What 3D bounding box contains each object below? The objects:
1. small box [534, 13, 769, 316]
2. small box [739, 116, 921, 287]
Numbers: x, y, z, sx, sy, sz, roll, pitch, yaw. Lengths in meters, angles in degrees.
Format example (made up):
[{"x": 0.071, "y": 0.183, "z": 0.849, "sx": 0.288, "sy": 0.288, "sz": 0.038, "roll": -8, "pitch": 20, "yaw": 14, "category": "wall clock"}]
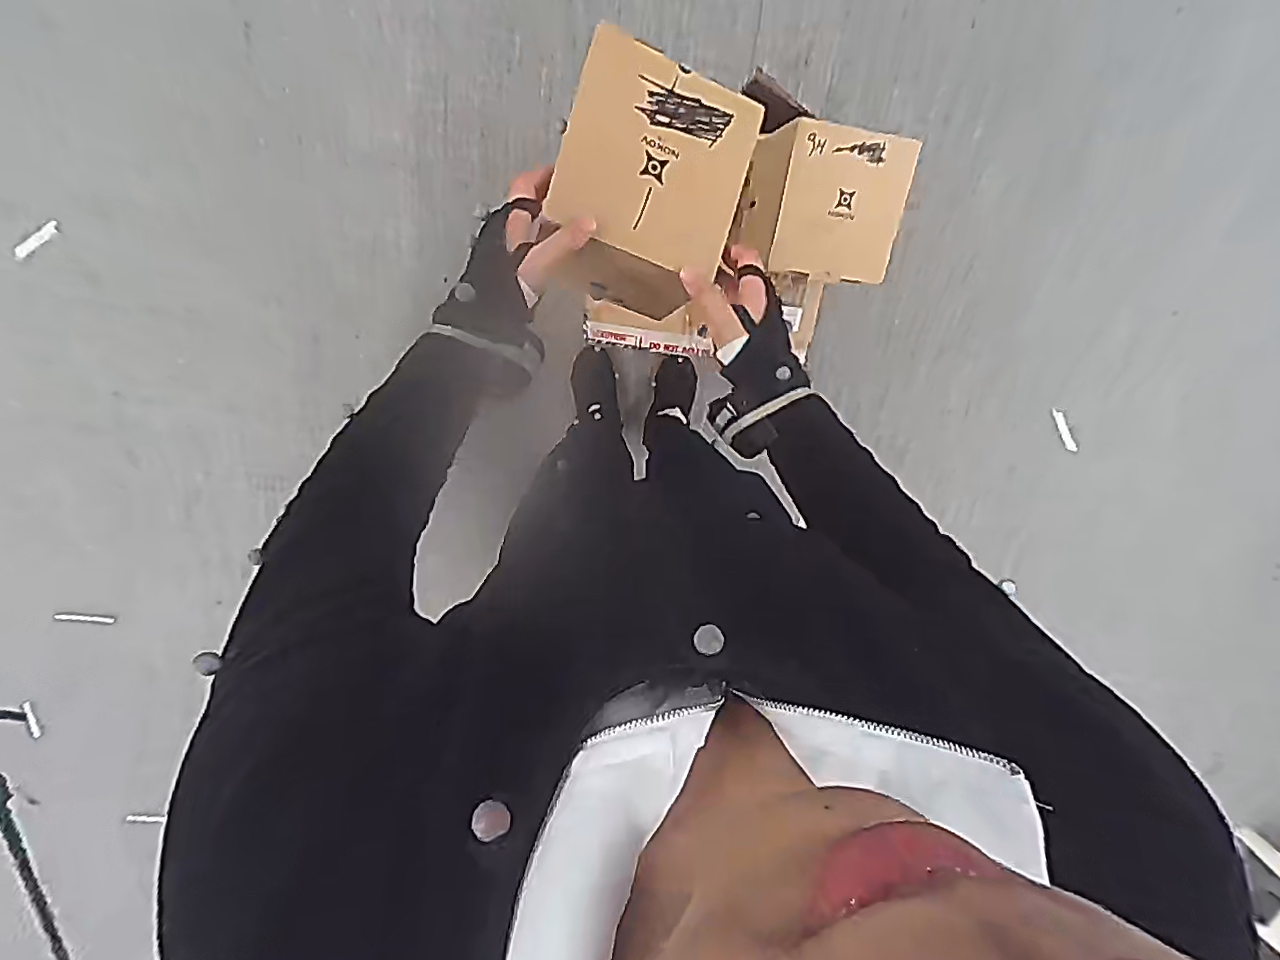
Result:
[{"x": -0.003, "y": -0.287, "z": 0.541, "sx": 0.168, "sy": 0.176, "sz": 0.179, "roll": 17, "pitch": 92, "yaw": -16, "category": "small box"}, {"x": 0.249, "y": -0.381, "z": 0.762, "sx": 0.168, "sy": 0.176, "sz": 0.179, "roll": 5, "pitch": 113, "yaw": -9, "category": "small box"}]
